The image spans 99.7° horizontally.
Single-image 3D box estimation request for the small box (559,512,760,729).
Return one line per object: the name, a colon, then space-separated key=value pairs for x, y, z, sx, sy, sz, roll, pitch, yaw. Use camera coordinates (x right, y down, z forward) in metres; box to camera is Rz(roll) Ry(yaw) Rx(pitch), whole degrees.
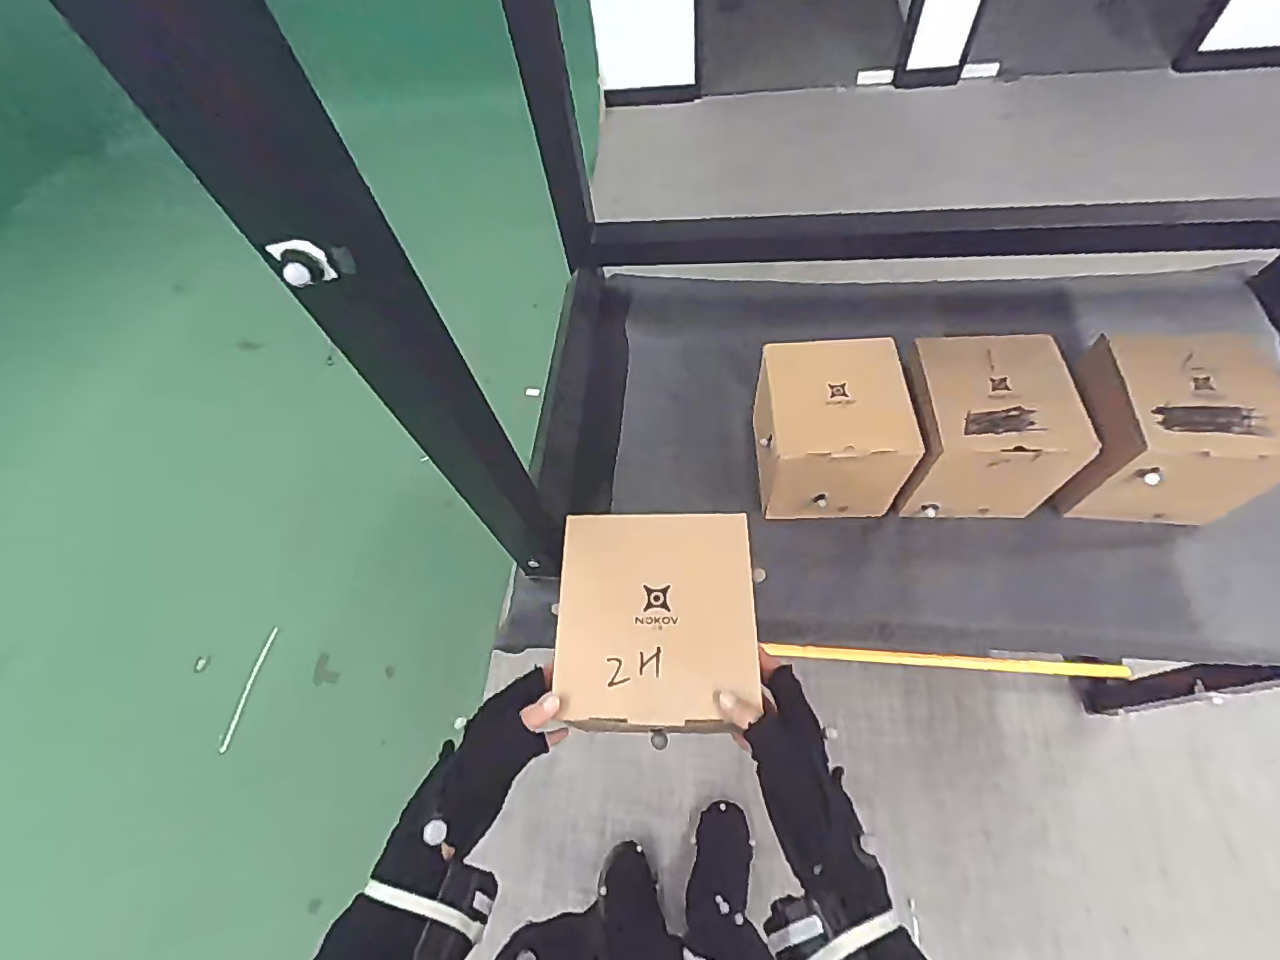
small box: x=0.022 y=0.146 z=0.542 sx=0.168 sy=0.176 sz=0.179 roll=-1 pitch=62 yaw=4
